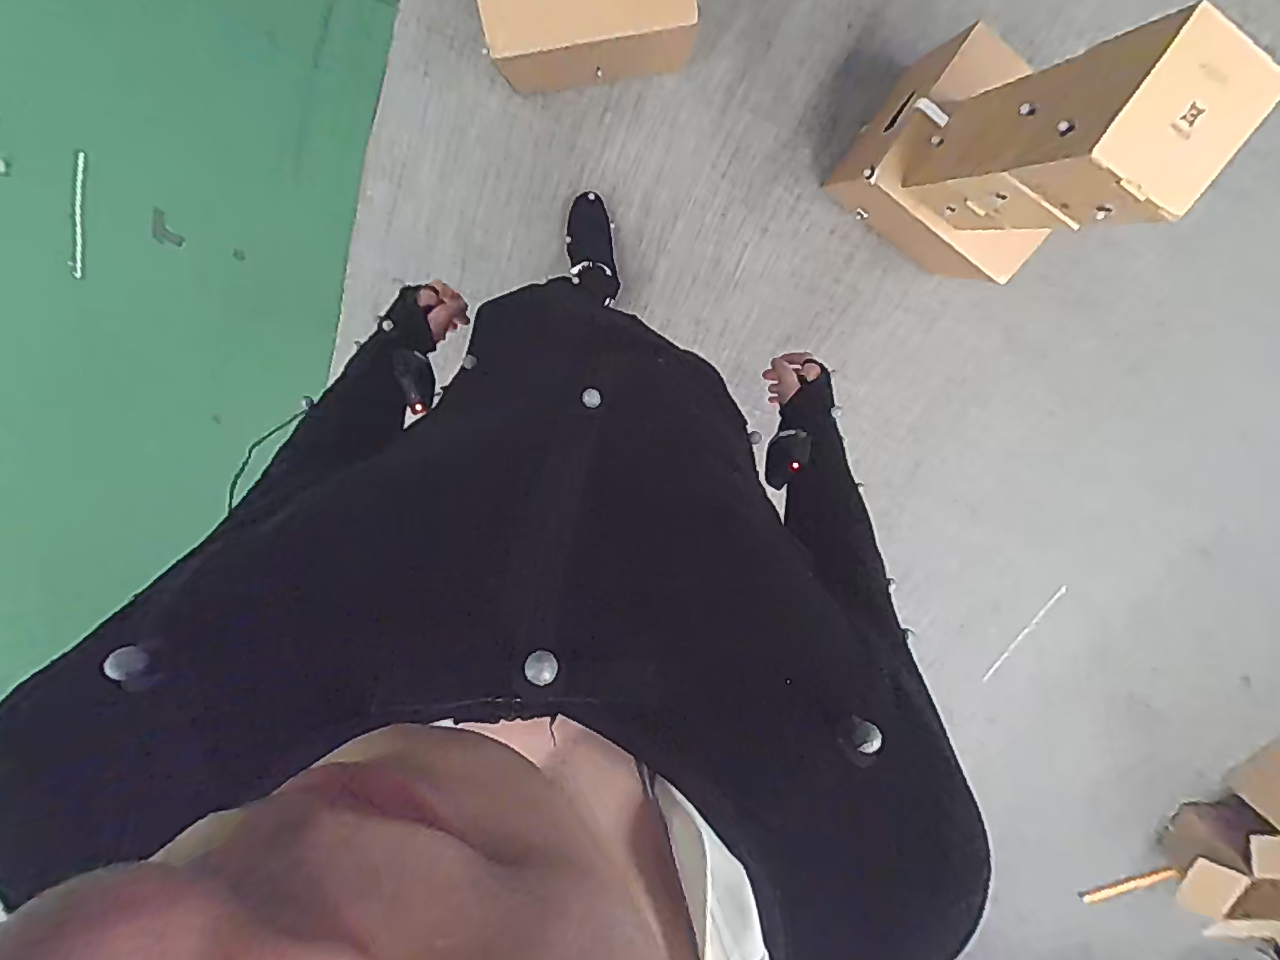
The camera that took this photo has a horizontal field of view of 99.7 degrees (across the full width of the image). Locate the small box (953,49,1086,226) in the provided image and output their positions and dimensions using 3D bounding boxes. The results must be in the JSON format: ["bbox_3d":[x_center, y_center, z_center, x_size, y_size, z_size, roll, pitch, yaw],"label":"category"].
[{"bbox_3d":[0.652,-0.537,0.880,0.168,0.176,0.179,26,111,-13],"label":"small box"}]

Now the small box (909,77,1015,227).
[{"bbox_3d":[0.646,-0.607,1.027,0.168,0.176,0.179,27,112,-14],"label":"small box"}]

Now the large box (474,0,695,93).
[{"bbox_3d":[-0.116,-1.024,1.084,0.408,0.320,0.320,-8,113,3],"label":"large box"}]

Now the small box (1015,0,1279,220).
[{"bbox_3d":[0.658,-0.474,0.730,0.168,0.176,0.179,25,111,-13],"label":"small box"}]
